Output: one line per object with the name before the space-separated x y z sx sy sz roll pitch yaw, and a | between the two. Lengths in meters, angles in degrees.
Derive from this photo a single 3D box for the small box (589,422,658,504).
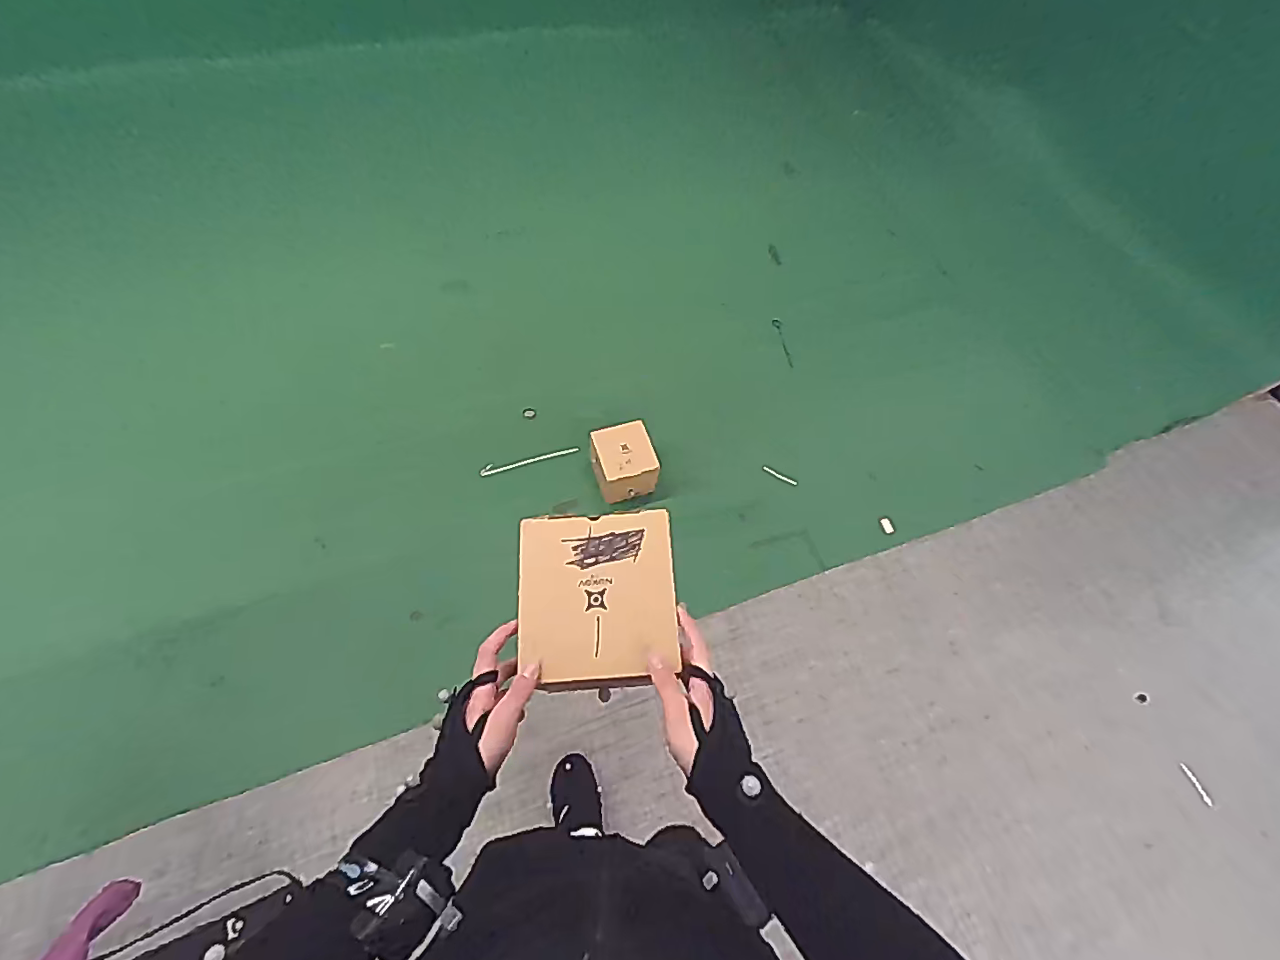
small box | -0.057 -0.051 1.672 0.168 0.176 0.179 -15 66 -13

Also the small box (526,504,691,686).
small box | -0.034 0.141 0.638 0.168 0.176 0.179 -4 67 0
